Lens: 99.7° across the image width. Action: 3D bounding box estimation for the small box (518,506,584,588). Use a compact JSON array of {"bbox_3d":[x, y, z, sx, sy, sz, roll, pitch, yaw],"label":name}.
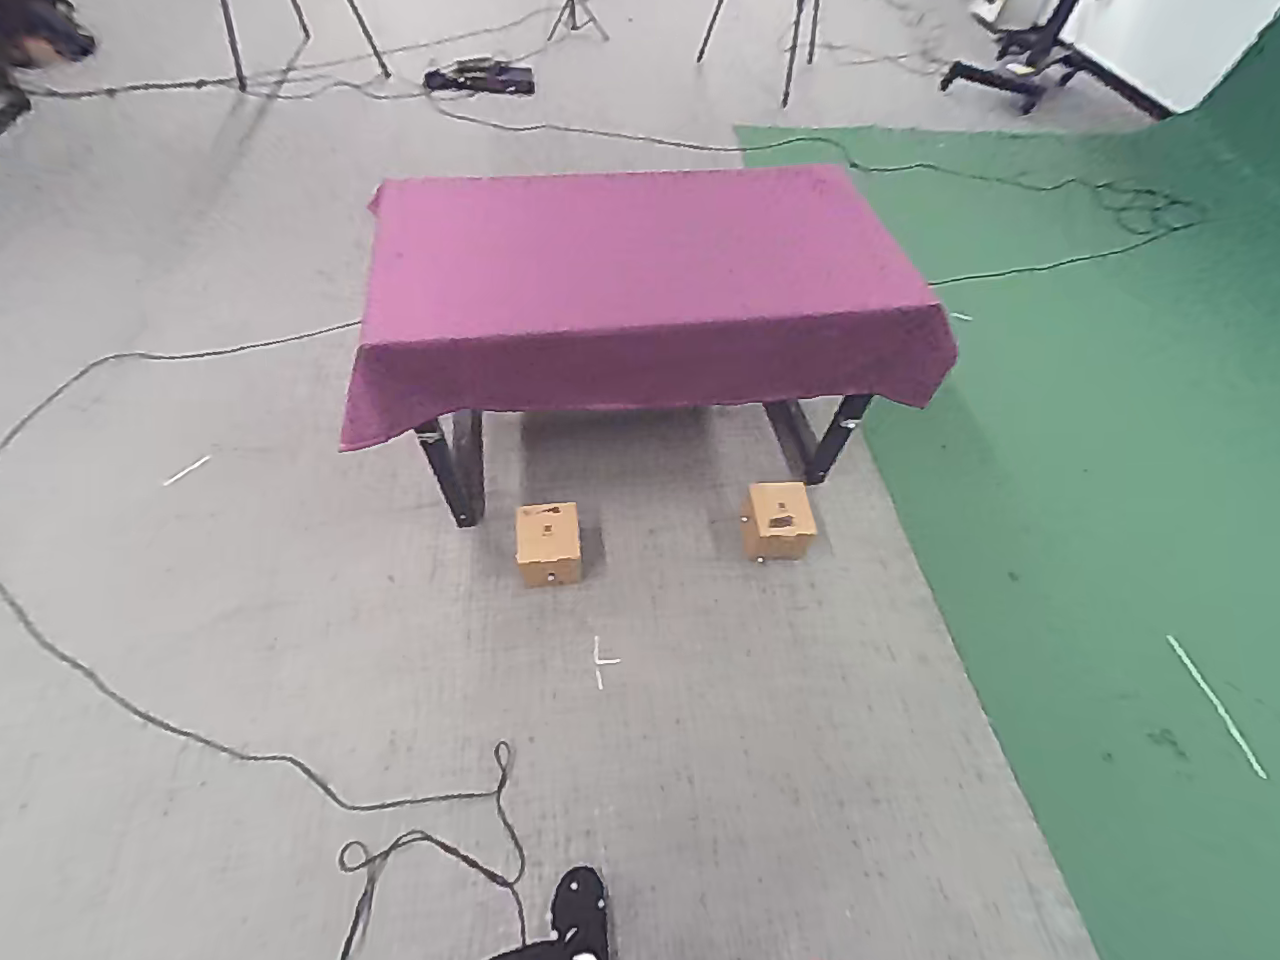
[{"bbox_3d":[-0.248,0.195,1.525,0.168,0.176,0.179,-4,57,-6],"label":"small box"}]
